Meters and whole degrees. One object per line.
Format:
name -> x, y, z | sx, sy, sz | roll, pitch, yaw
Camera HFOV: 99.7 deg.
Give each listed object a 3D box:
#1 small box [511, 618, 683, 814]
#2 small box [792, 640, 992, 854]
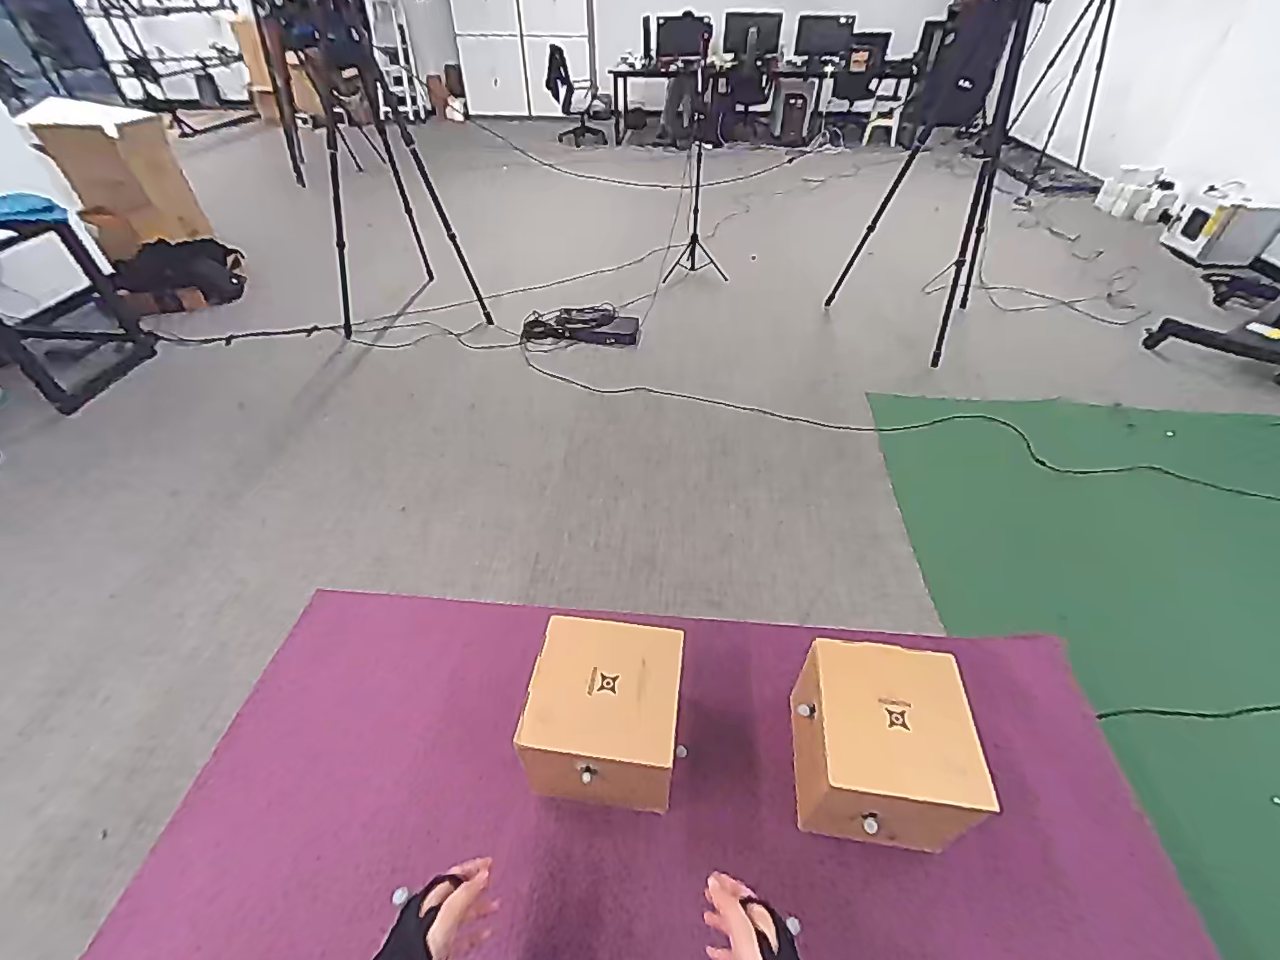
small box -> -0.043, 0.300, 0.686 | 0.179, 0.176, 0.168 | 6, 43, 6
small box -> 0.283, 0.323, 0.655 | 0.168, 0.176, 0.179 | 5, 42, 7
